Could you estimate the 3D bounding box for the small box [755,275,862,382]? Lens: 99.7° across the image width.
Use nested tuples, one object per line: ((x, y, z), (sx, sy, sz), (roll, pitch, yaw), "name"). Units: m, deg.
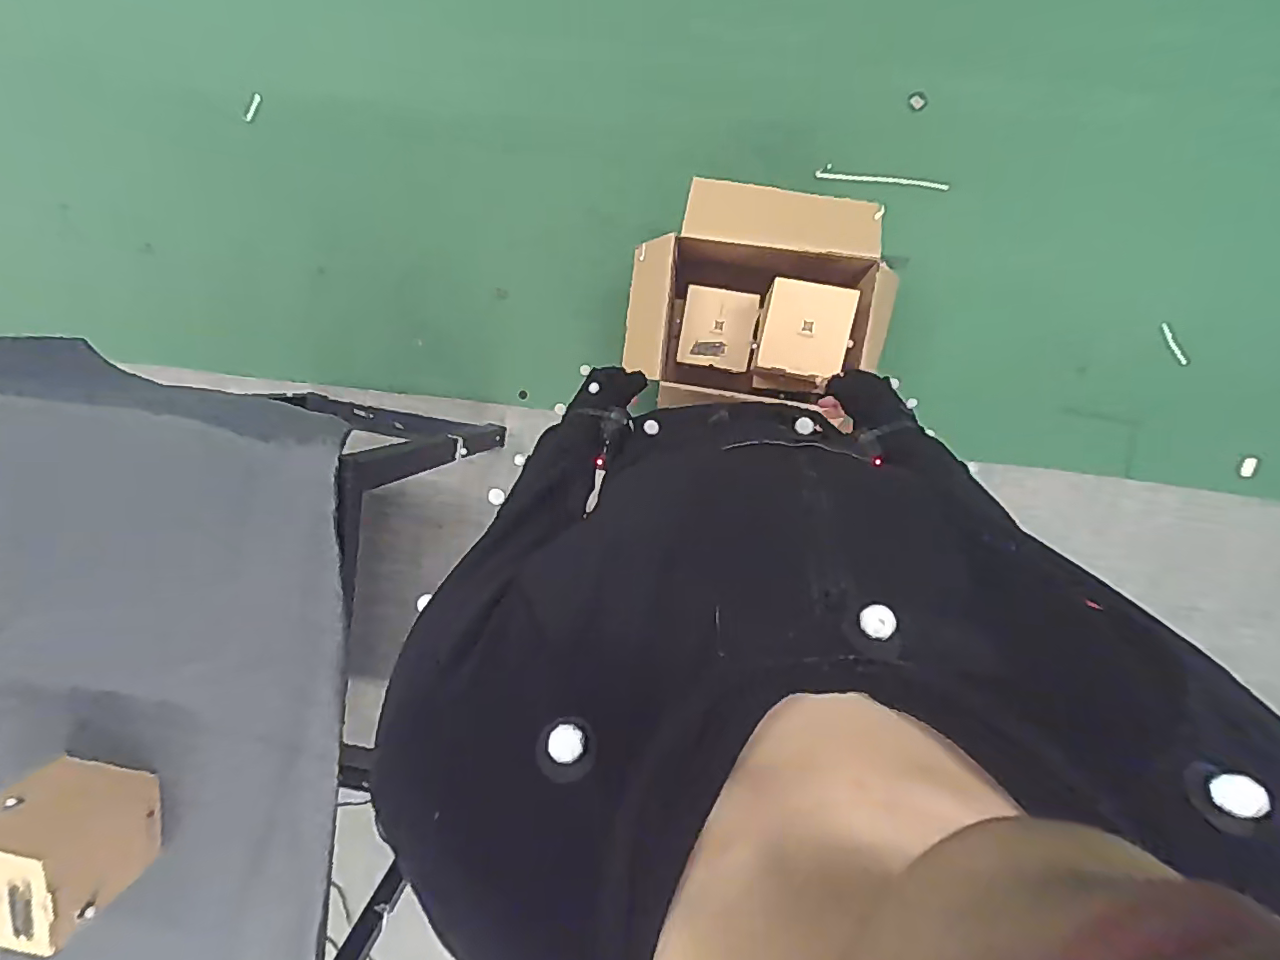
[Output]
((0.343, -0.310, 1.135), (0.168, 0.176, 0.179), (12, 99, 6), "small box")
